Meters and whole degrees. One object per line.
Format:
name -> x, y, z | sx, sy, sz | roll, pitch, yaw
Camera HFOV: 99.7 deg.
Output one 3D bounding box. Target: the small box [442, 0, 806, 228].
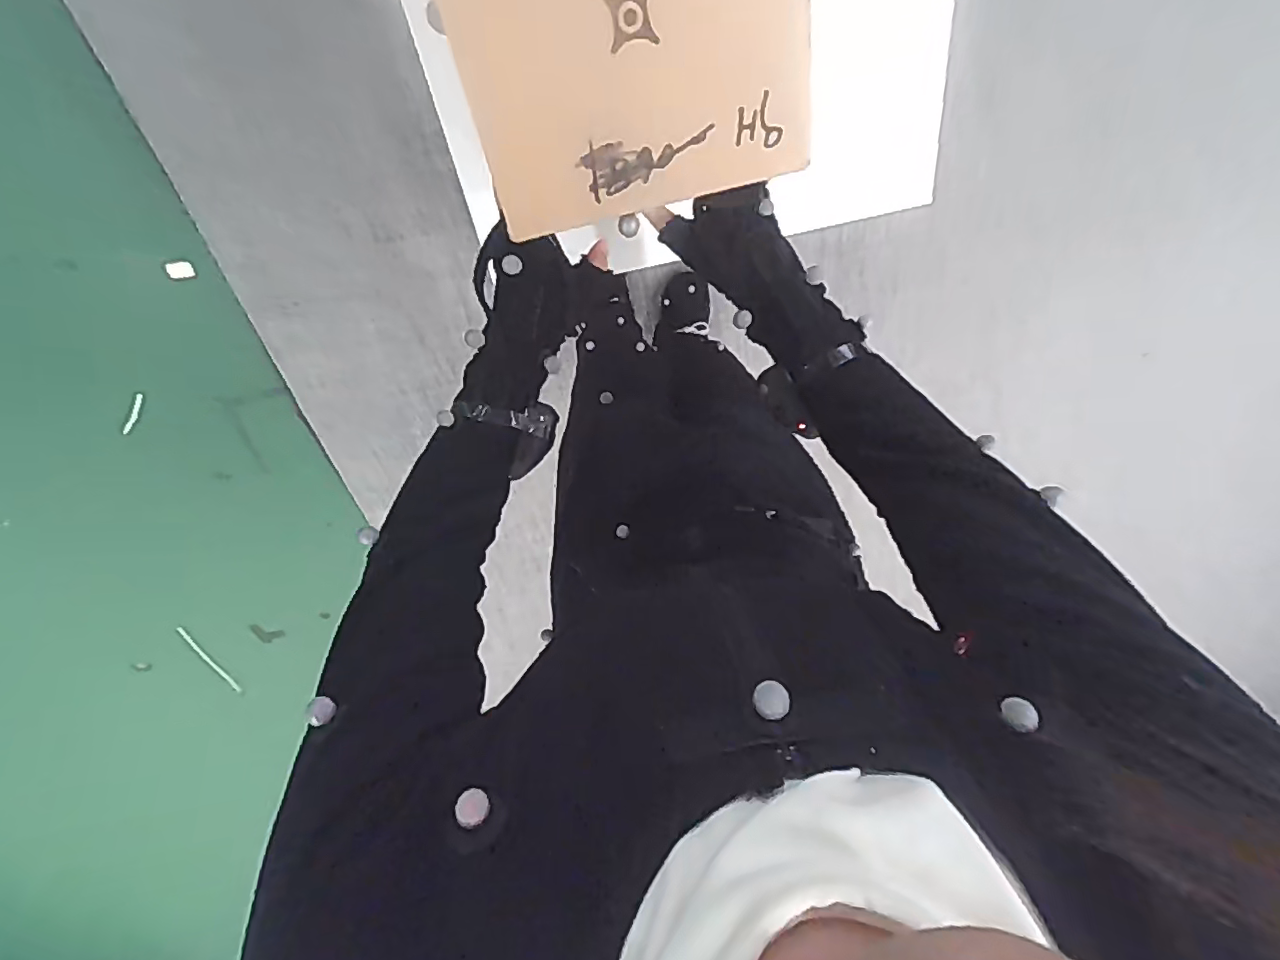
small box -> -0.018, -0.263, 0.308 | 0.168, 0.176, 0.179 | -14, 123, 0
